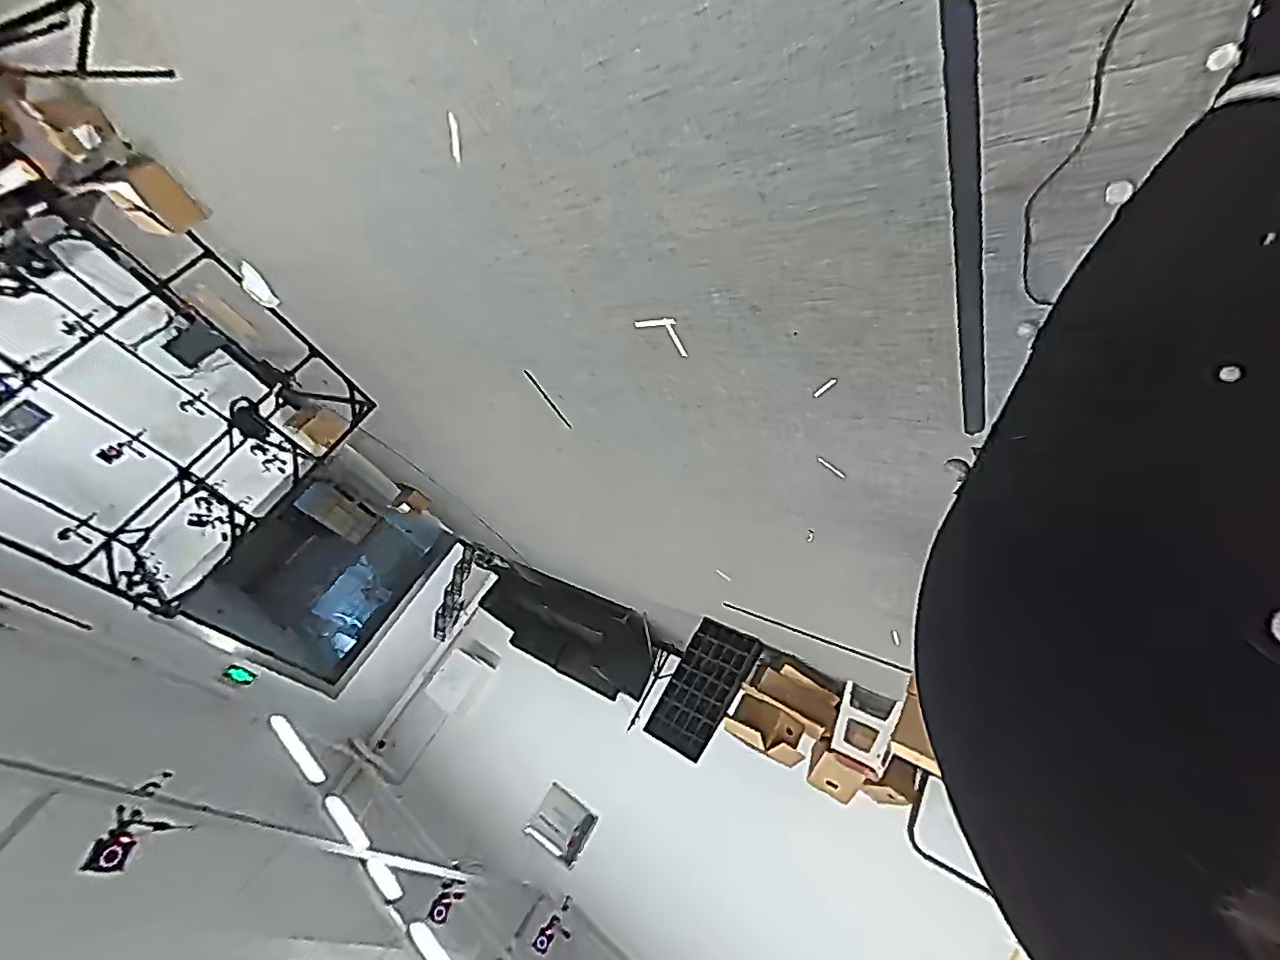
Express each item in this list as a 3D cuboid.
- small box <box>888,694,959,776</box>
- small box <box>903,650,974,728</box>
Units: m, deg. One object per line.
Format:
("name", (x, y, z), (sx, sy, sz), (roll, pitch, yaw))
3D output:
("small box", (0.930, 0.834, 1.775), (0.168, 0.176, 0.179), (17, 153, 35))
("small box", (1.013, 0.704, 1.835), (0.179, 0.176, 0.168), (17, 153, 36))
